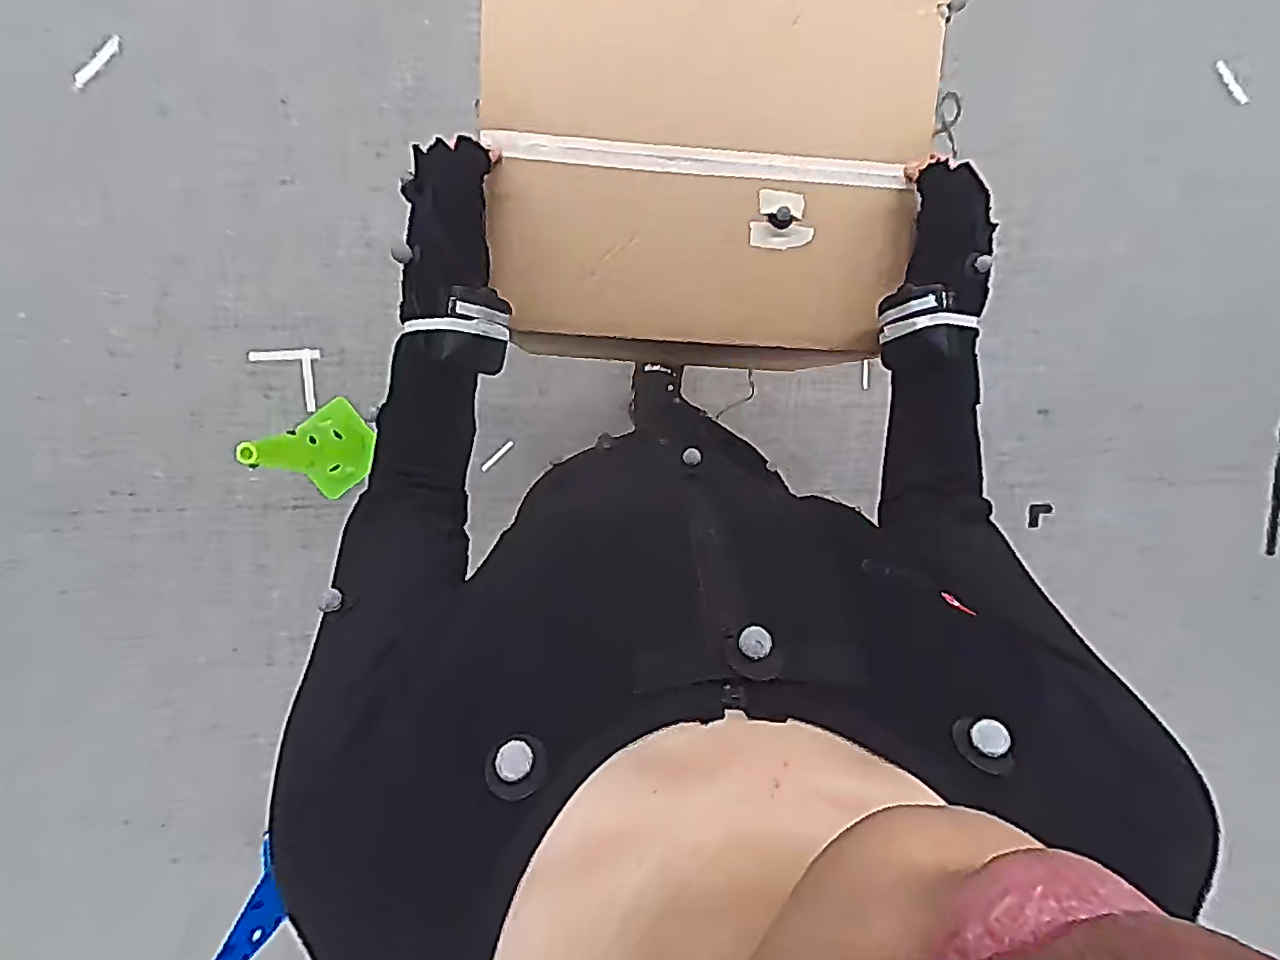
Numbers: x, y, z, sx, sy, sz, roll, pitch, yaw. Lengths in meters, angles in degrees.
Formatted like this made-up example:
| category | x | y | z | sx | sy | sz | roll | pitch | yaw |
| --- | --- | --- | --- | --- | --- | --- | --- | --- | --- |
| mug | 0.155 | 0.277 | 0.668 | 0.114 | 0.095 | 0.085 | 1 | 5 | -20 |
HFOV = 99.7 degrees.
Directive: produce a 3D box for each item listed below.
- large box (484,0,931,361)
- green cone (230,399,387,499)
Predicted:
| category | x | y | z | sx | sy | sz | roll | pitch | yaw |
| --- | --- | --- | --- | --- | --- | --- | --- | --- | --- |
| large box | 0.048 | -0.314 | 0.636 | 0.408 | 0.320 | 0.320 | 2 | 99 | -5 |
| green cone | -0.772 | -0.065 | 1.216 | 0.202 | 0.368 | 0.200 | -38 | 95 | 1 |
